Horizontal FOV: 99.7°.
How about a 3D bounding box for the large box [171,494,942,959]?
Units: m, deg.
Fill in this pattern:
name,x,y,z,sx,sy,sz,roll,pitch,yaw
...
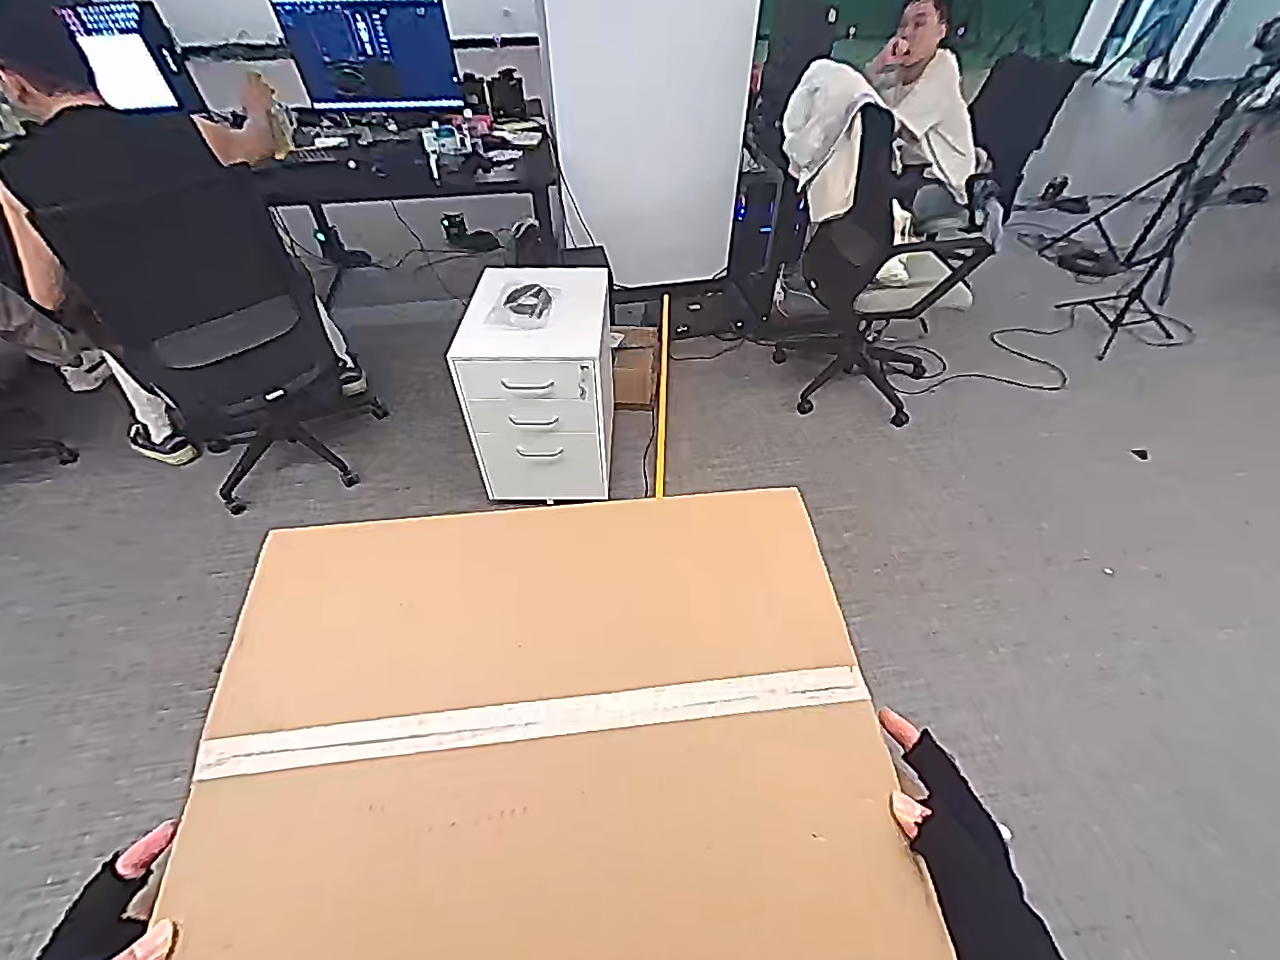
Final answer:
name,x,y,z,sx,sy,sz,roll,pitch,yaw
large box,-0.058,0.238,0.468,0.408,0.320,0.320,-5,56,-4
